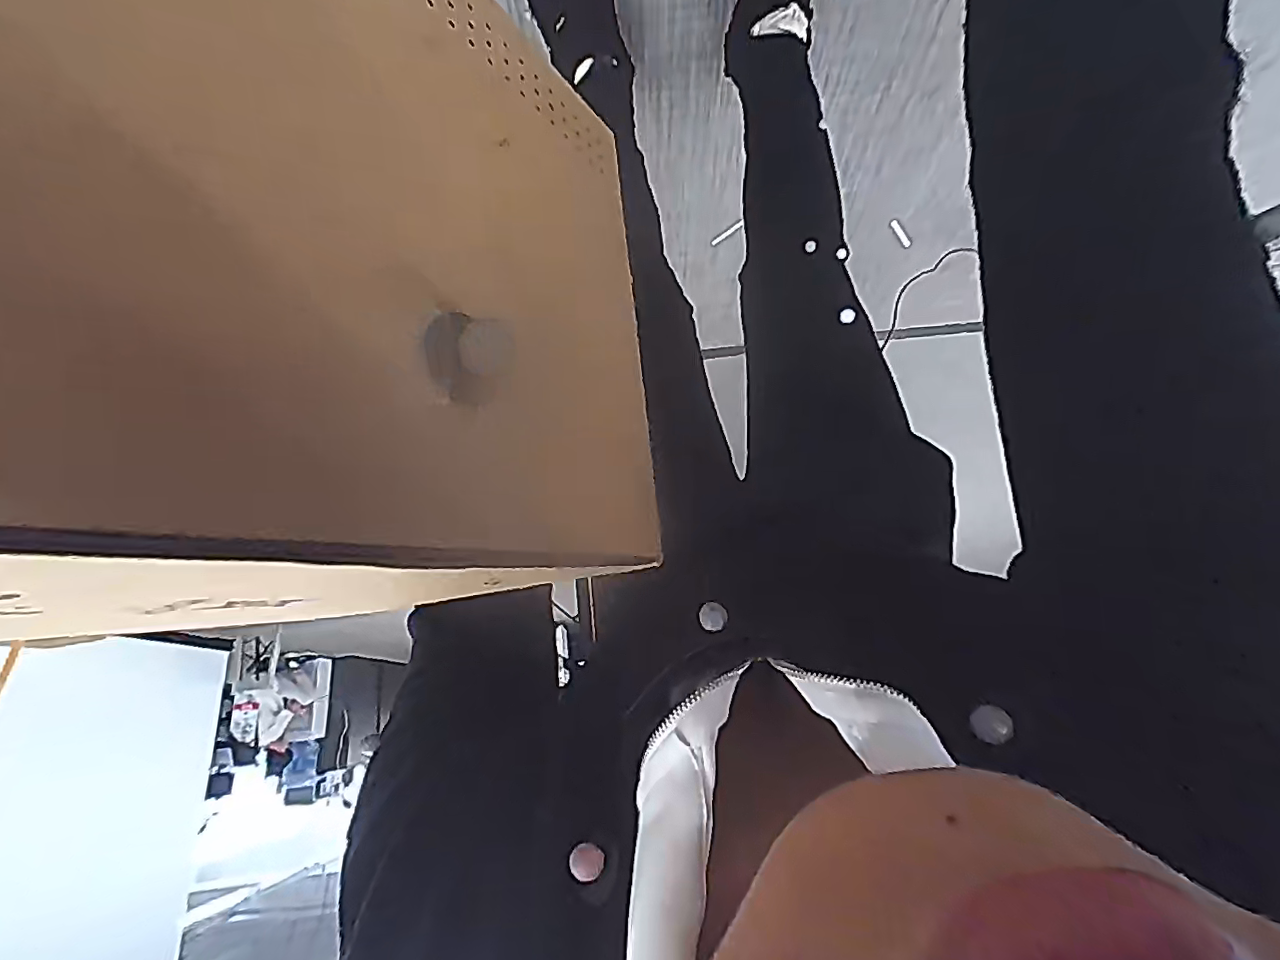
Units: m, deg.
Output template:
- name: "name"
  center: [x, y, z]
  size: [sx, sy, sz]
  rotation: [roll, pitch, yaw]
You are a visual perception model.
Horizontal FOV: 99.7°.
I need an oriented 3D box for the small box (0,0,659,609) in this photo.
- name: "small box"
  center: [-0.113, -0.056, 0.171]
  size: [0.168, 0.176, 0.179]
  rotation: [-16, 162, 31]
